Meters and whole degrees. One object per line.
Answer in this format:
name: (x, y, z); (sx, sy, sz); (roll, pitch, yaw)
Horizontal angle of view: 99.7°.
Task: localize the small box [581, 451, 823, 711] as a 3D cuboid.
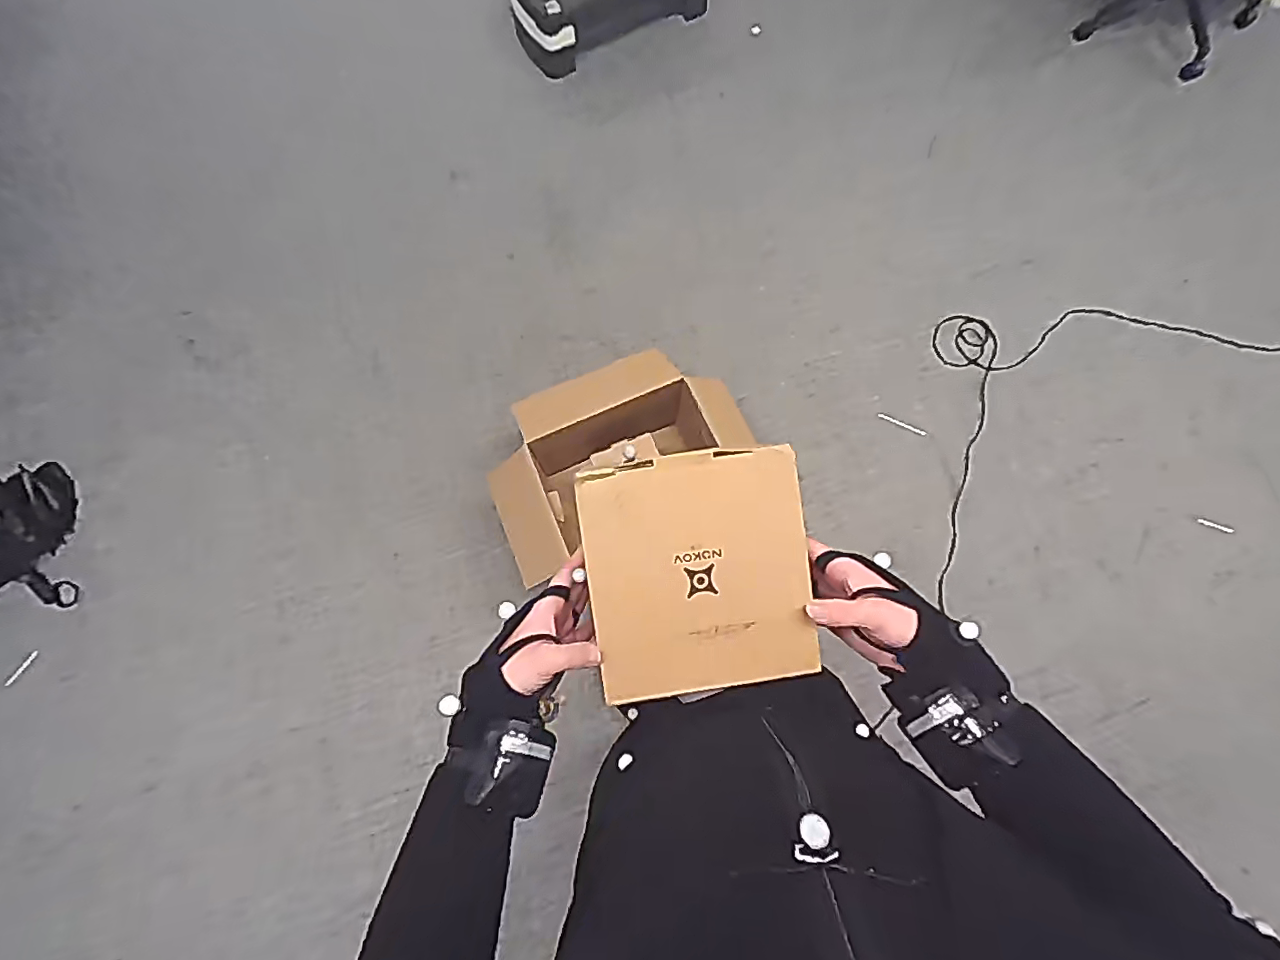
small box: (0.042, 0.071, 0.477); (0.168, 0.176, 0.179); (-8, 93, -2)
